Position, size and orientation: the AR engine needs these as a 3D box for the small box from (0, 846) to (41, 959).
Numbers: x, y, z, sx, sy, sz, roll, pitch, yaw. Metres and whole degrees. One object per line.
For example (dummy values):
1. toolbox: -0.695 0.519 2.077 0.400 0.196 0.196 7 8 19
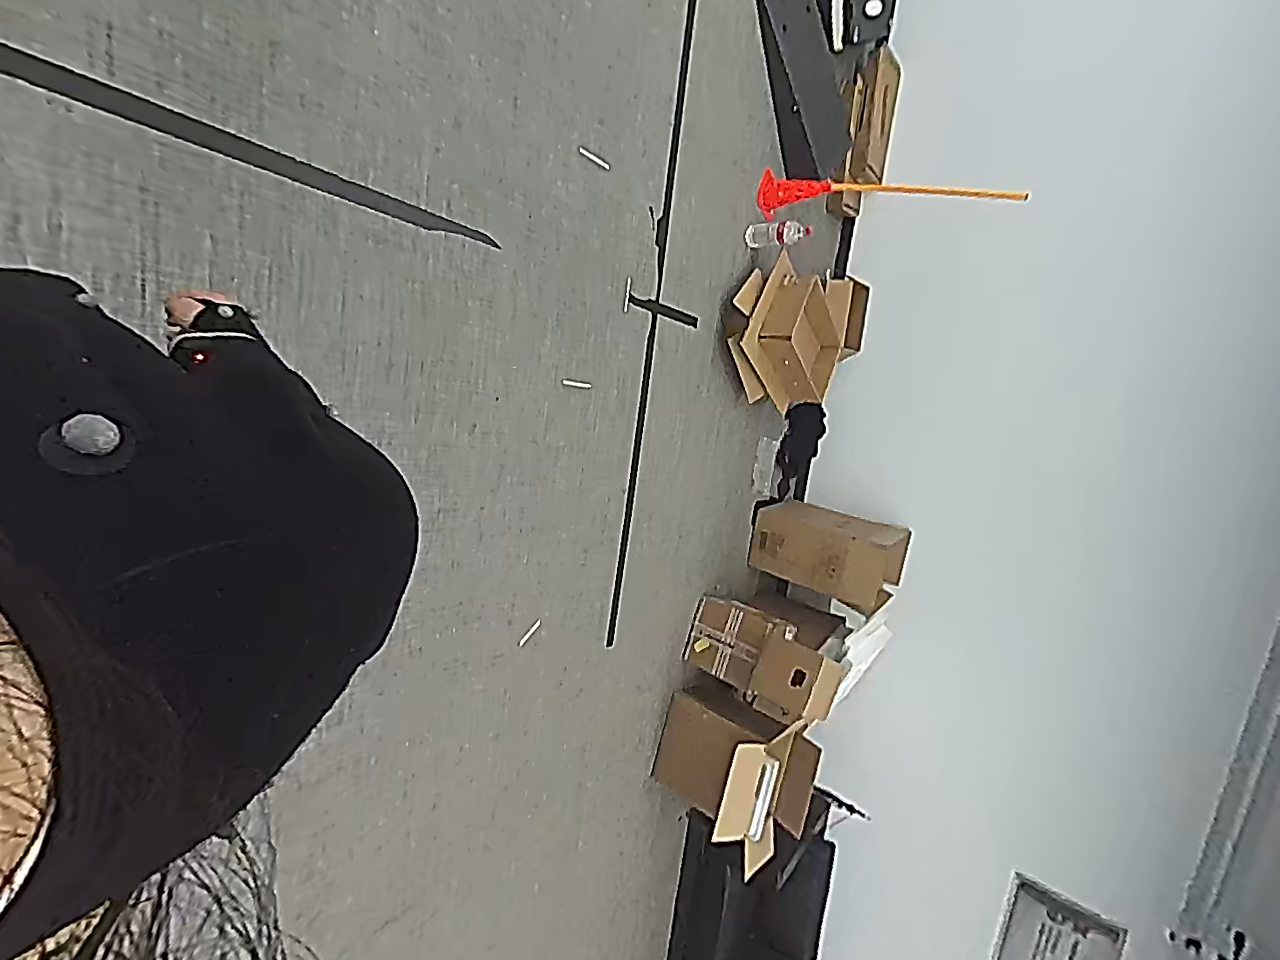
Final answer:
1. small box: -1.036 0.714 0.818 0.168 0.176 0.179 -8 107 -51
